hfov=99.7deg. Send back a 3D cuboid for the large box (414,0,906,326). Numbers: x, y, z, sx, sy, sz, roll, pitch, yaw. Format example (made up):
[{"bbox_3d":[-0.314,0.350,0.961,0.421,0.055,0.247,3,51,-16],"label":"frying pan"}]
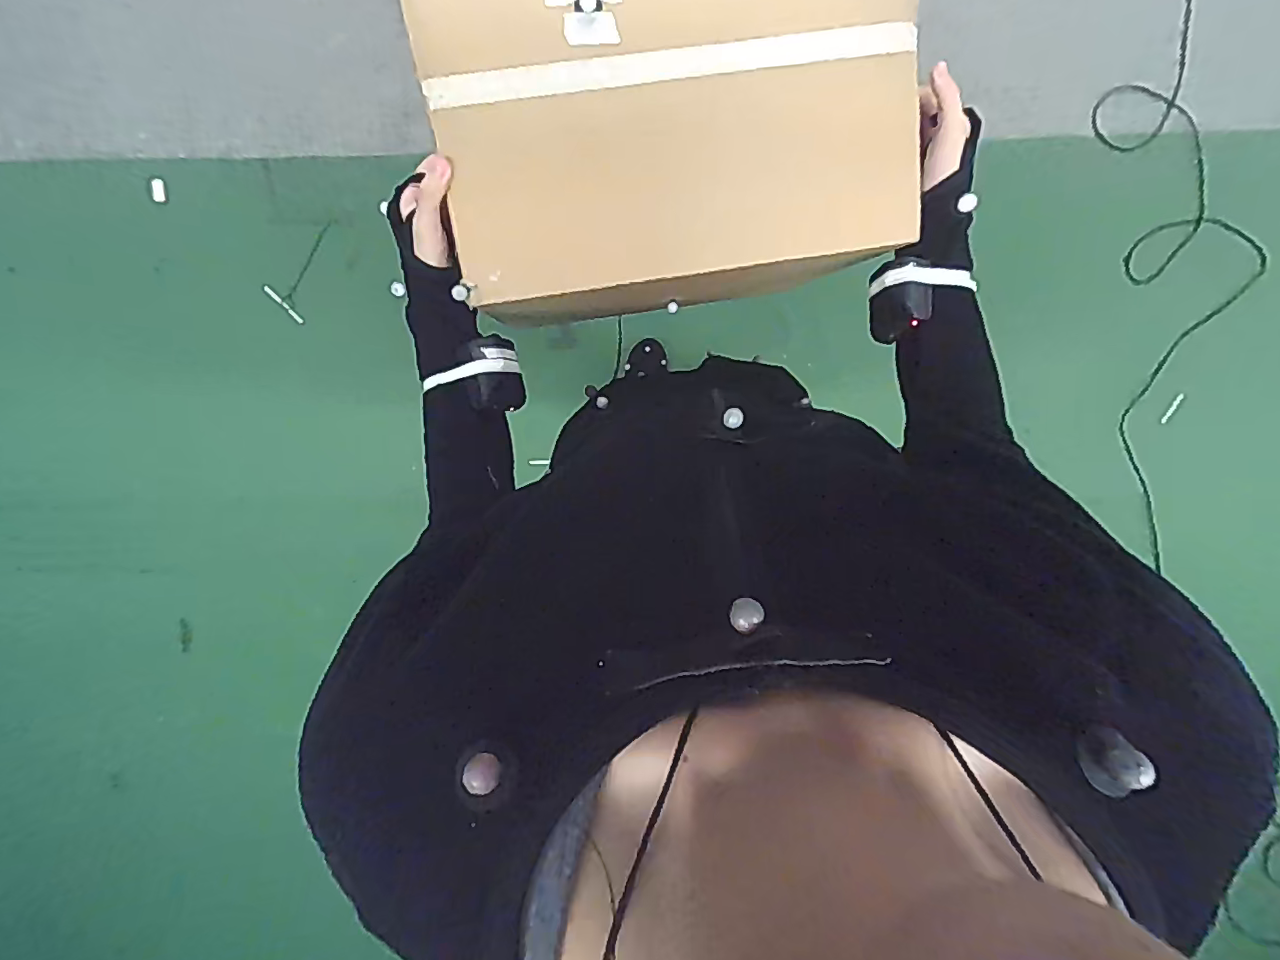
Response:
[{"bbox_3d":[0.016,-0.363,0.598,0.408,0.320,0.320,-9,102,-4],"label":"large box"}]
